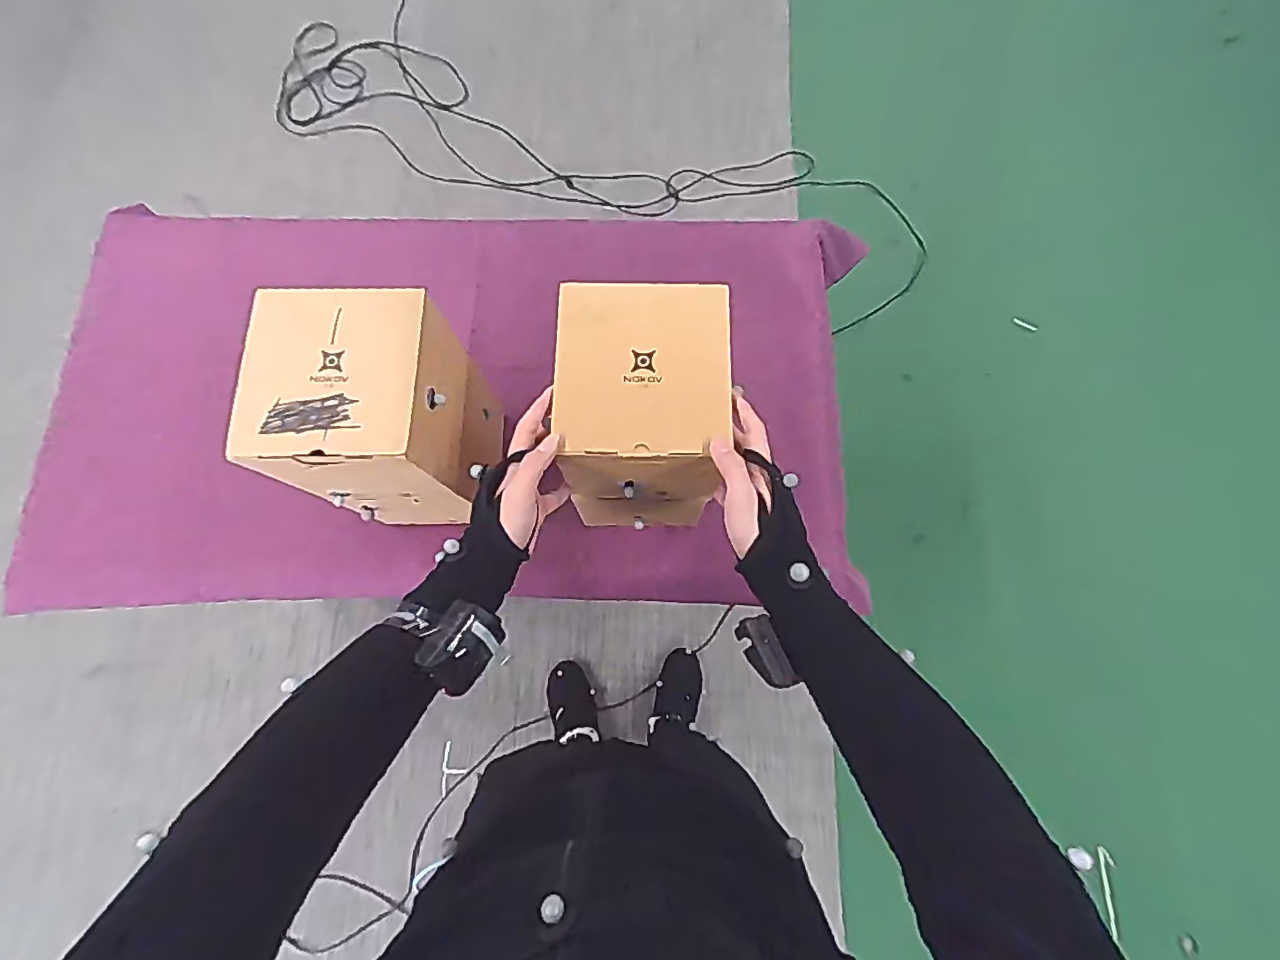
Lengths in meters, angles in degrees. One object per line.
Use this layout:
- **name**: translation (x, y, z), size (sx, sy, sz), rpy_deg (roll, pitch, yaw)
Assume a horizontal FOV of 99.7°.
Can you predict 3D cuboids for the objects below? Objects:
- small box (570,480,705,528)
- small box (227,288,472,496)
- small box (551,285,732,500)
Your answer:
- **small box**: translation (-0.003, -0.037, 0.744), size (0.168, 0.176, 0.179), rpy_deg (0, 75, 0)
- **small box**: translation (-0.290, -0.082, 0.584), size (0.168, 0.176, 0.179), rpy_deg (0, 74, -1)
- **small box**: translation (0.002, -0.083, 0.581), size (0.168, 0.176, 0.179), rpy_deg (1, 76, 0)
